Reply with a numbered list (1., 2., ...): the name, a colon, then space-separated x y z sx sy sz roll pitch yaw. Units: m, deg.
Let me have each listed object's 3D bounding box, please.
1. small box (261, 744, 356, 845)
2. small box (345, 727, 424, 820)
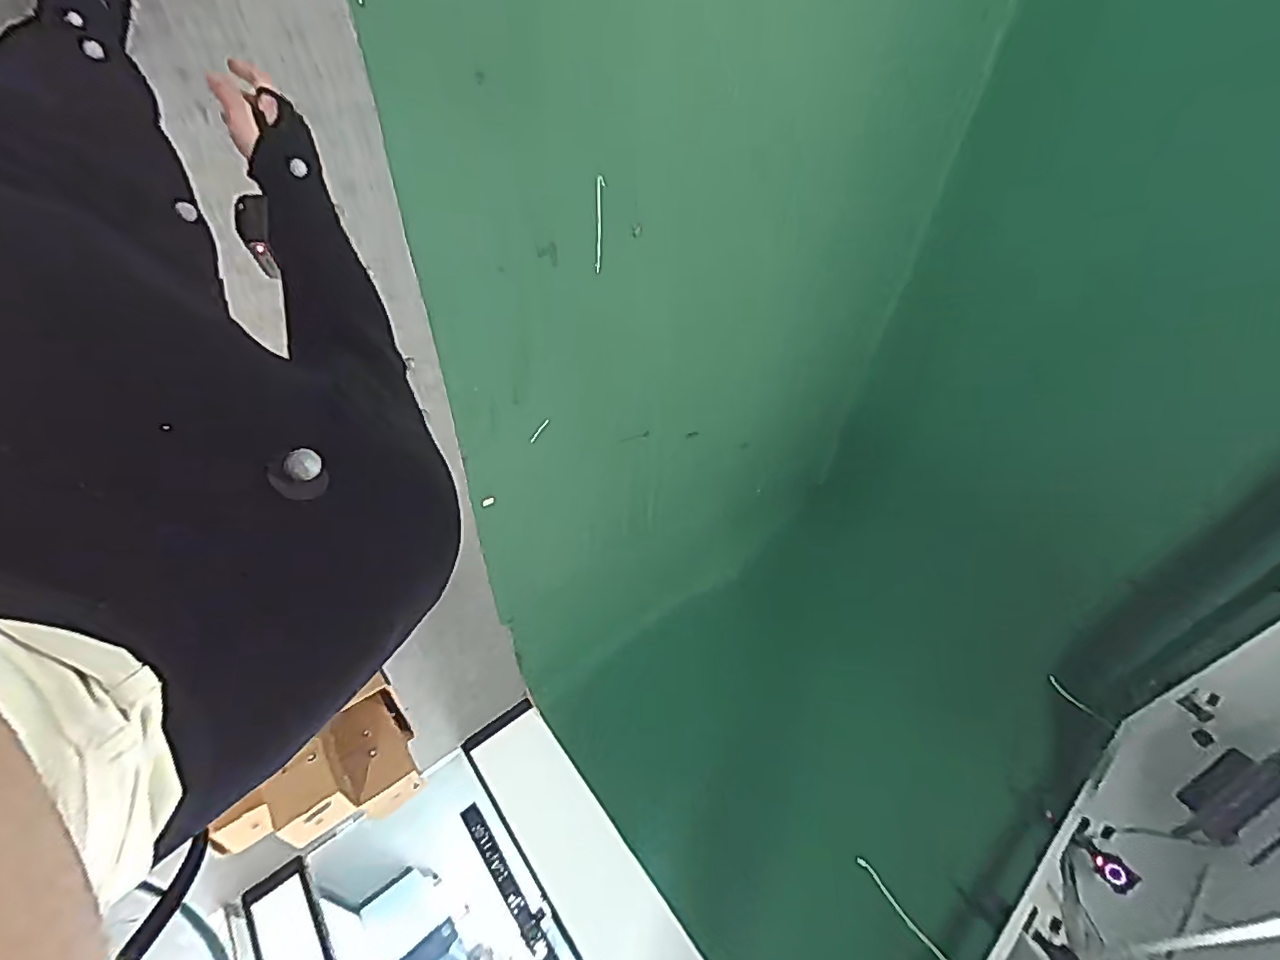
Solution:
1. small box: -0.954 0.900 1.558 0.168 0.176 0.179 -27 143 -28
2. small box: -0.831 0.947 1.751 0.179 0.176 0.168 -26 140 -29
